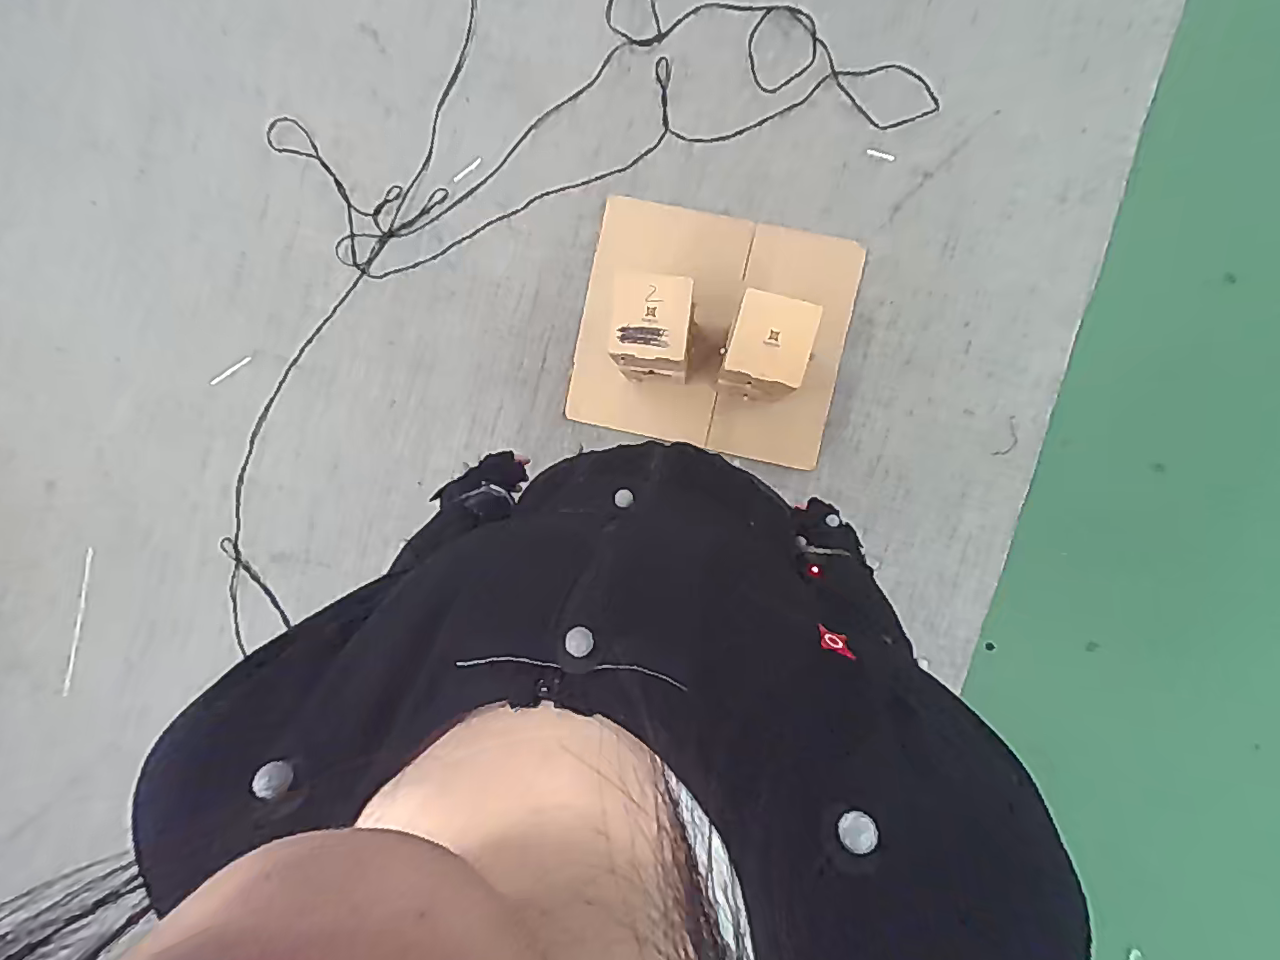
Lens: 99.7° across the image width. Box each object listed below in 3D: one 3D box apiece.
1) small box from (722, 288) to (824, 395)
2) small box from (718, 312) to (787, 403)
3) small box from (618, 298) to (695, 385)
[{"bbox_3d":[0.282,-0.296,1.189,0.168,0.176,0.179,16,95,4],"label":"small box"},{"bbox_3d":[0.293,-0.299,1.351,0.168,0.176,0.179,13,95,5],"label":"small box"},{"bbox_3d":[0.046,-0.343,1.366,0.168,0.176,0.179,8,94,4],"label":"small box"}]
